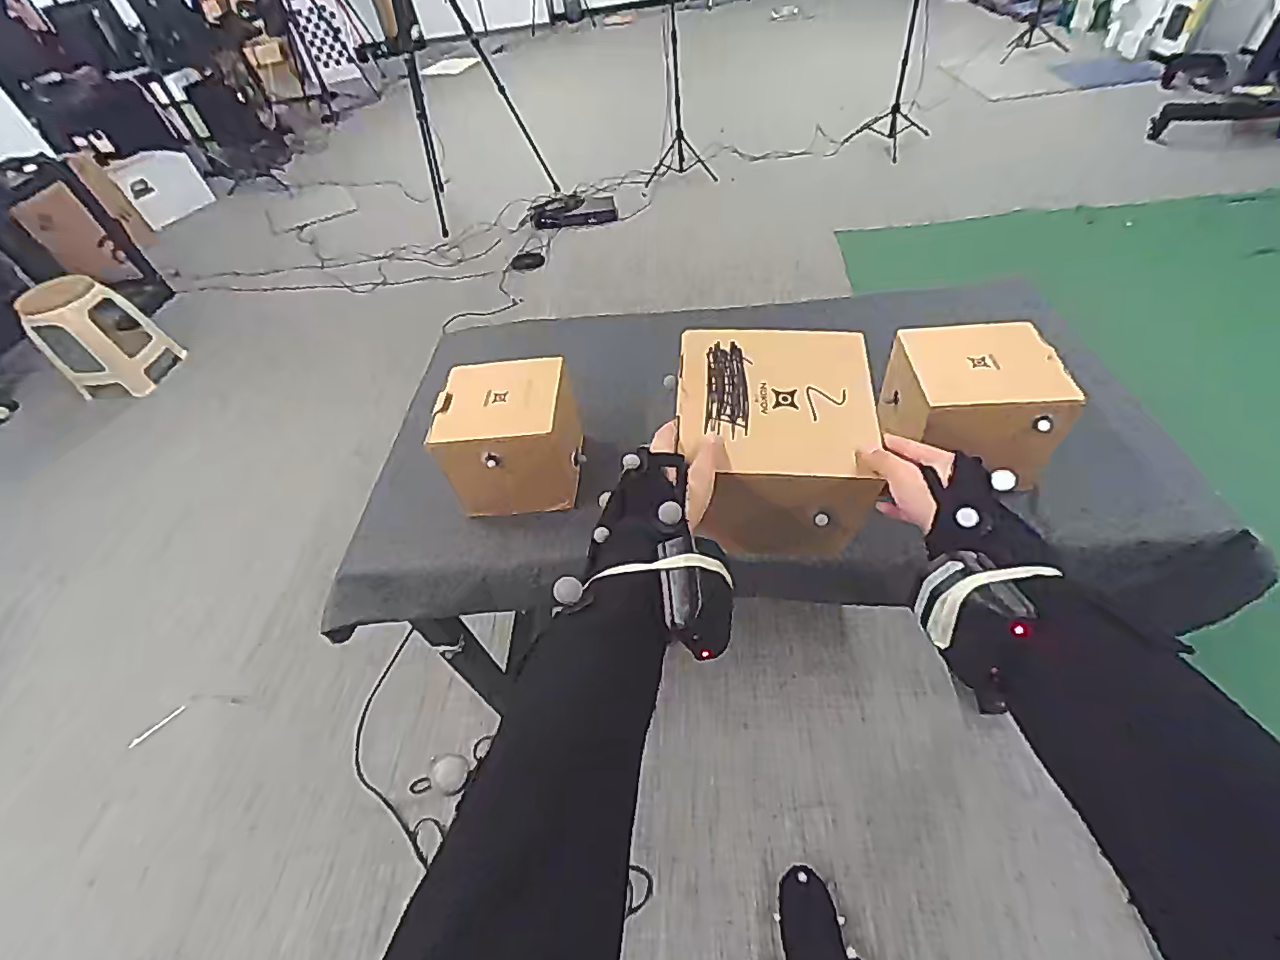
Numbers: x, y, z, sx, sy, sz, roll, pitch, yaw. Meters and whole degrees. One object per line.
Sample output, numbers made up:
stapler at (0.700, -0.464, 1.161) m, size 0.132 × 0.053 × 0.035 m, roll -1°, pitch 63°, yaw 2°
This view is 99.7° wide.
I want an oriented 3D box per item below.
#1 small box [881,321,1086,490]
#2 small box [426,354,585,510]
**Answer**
small box at (0.448, -0.098, 0.747) m, size 0.179 × 0.176 × 0.168 m, roll -1°, pitch 49°, yaw 7°
small box at (-0.190, -0.068, 0.821) m, size 0.179 × 0.176 × 0.168 m, roll -4°, pitch 50°, yaw 4°
